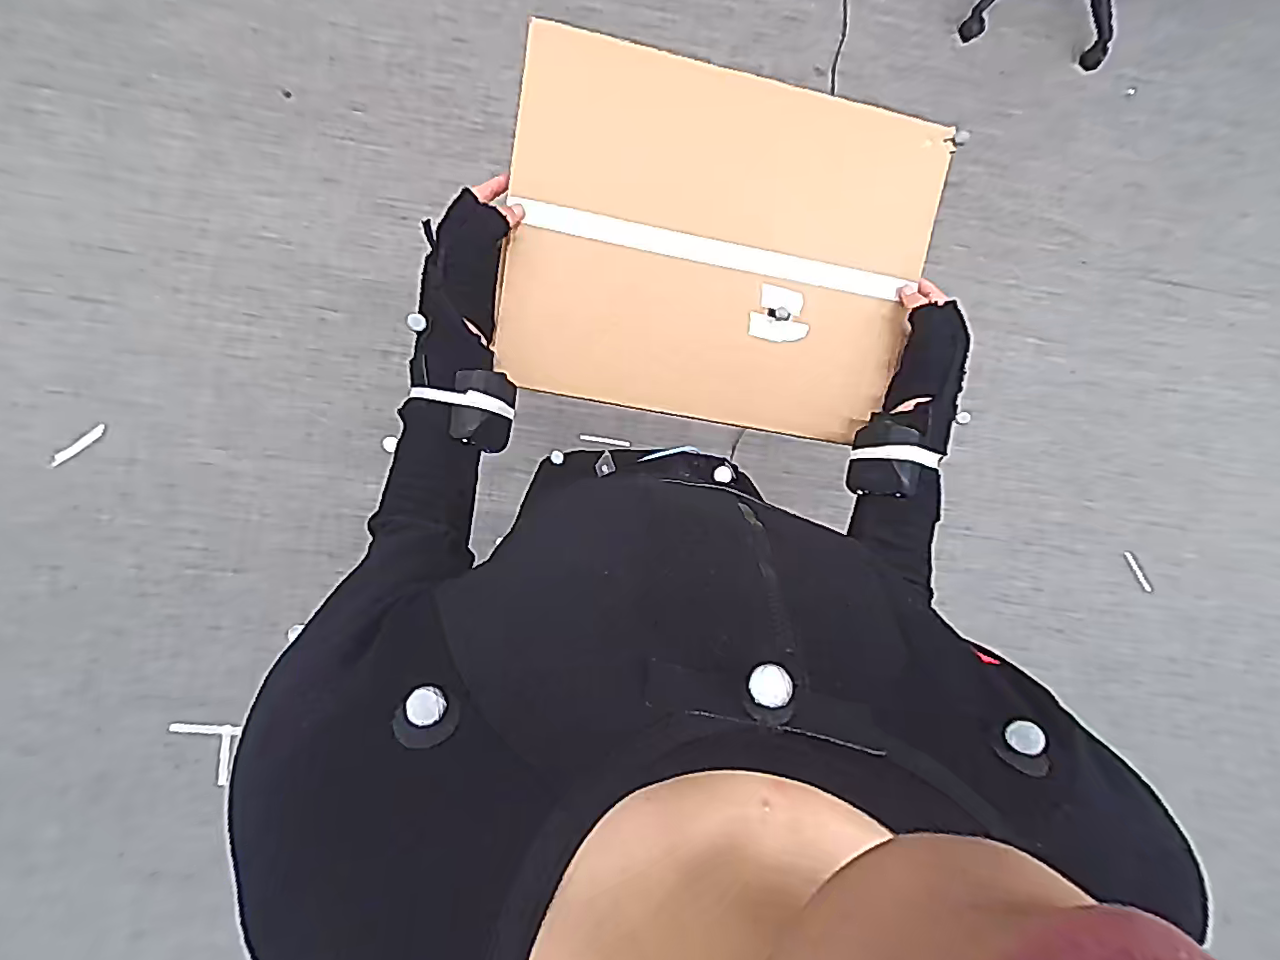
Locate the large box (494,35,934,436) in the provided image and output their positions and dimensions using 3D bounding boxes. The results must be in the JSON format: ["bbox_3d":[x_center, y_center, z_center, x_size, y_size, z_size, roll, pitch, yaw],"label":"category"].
[{"bbox_3d":[0.056,-0.249,0.676,0.408,0.320,0.320,9,100,-8],"label":"large box"}]
